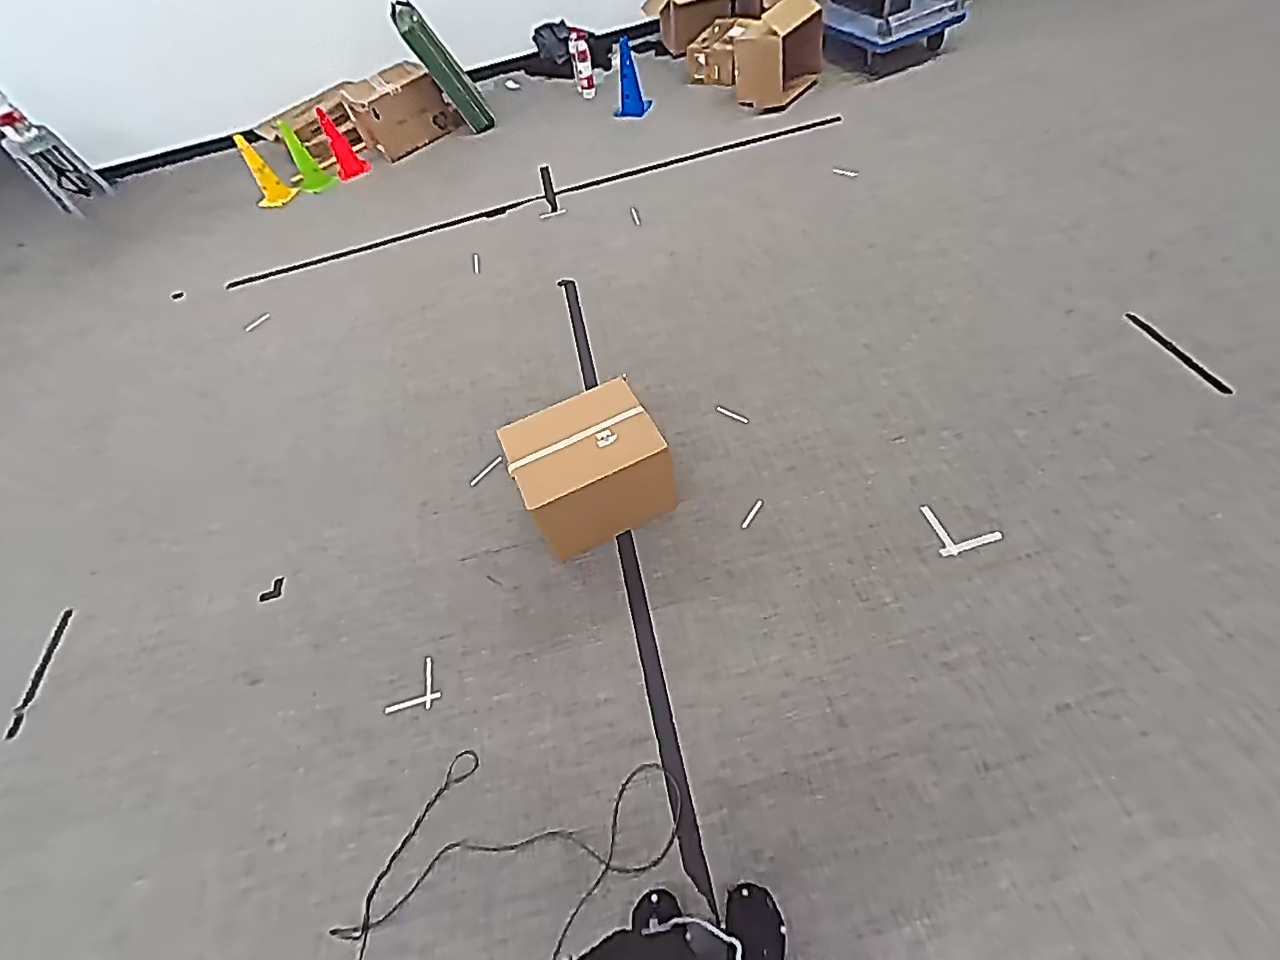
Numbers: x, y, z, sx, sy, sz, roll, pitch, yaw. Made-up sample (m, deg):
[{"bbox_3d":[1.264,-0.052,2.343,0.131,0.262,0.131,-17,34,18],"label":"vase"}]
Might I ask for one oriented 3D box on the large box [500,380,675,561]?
[{"bbox_3d":[-0.146,-0.025,1.611,0.408,0.320,0.320,-24,56,-8],"label":"large box"}]
